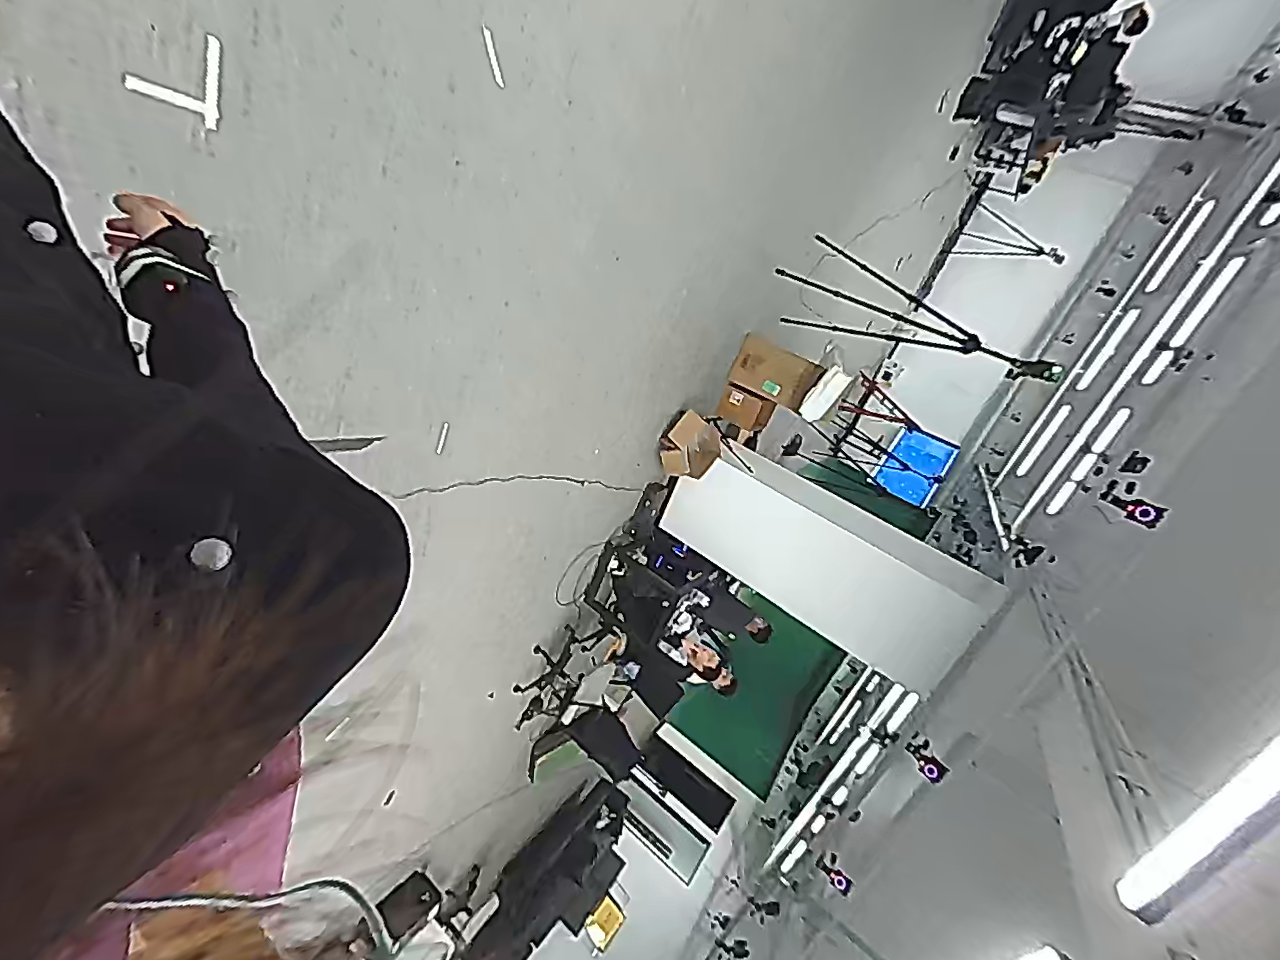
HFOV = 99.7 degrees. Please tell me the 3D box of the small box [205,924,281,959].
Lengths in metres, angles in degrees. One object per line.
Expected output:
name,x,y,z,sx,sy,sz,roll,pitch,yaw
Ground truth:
small box,-0.916,1.163,1.207,0.179,0.176,0.168,-10,127,-60
